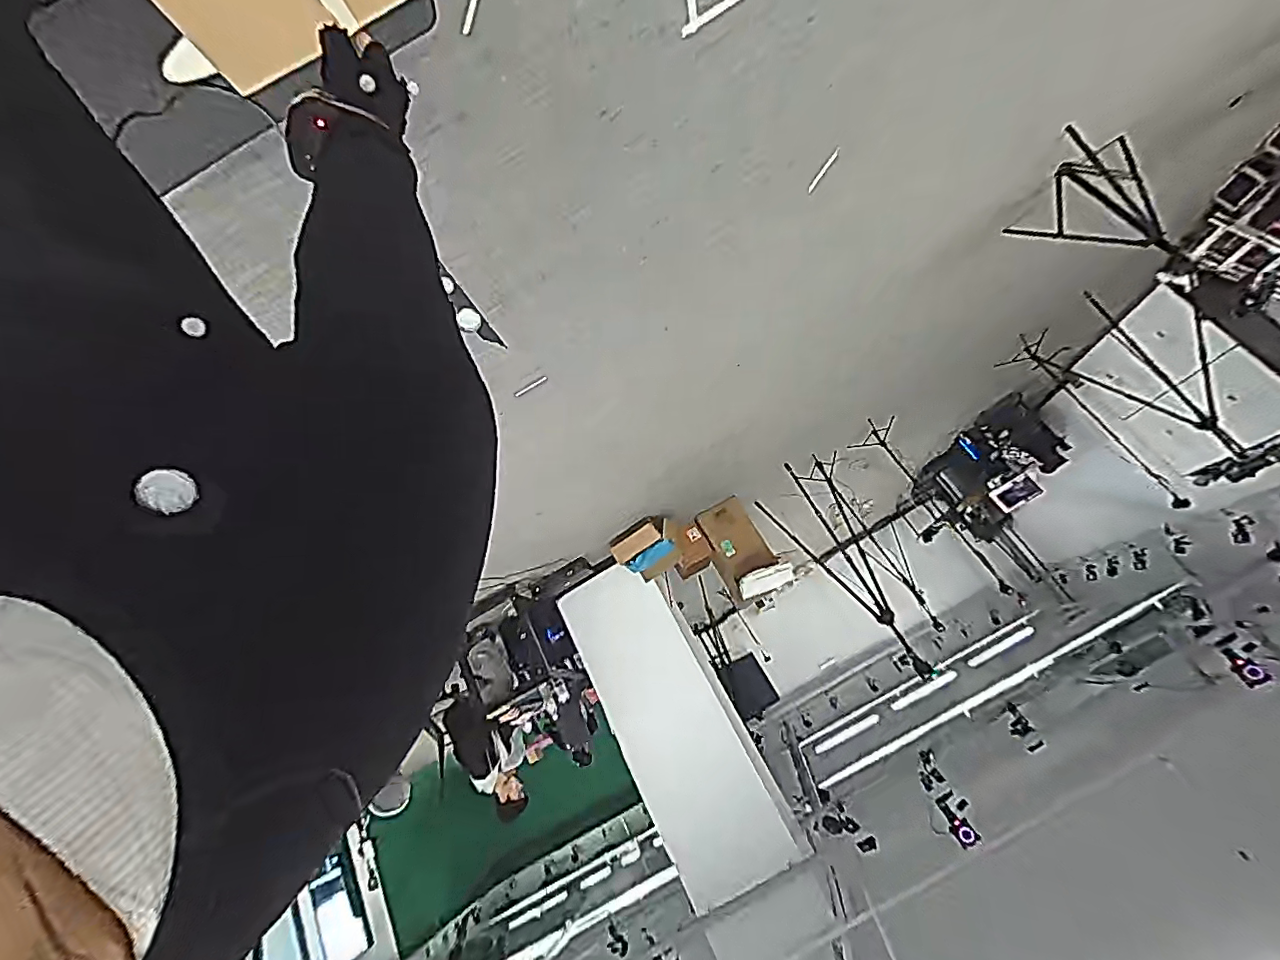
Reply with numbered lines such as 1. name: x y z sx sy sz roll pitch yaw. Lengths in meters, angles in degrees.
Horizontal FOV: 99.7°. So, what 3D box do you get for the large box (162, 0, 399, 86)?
1. large box: -0.437 -0.717 0.500 0.320 0.320 0.408 -25 160 5
